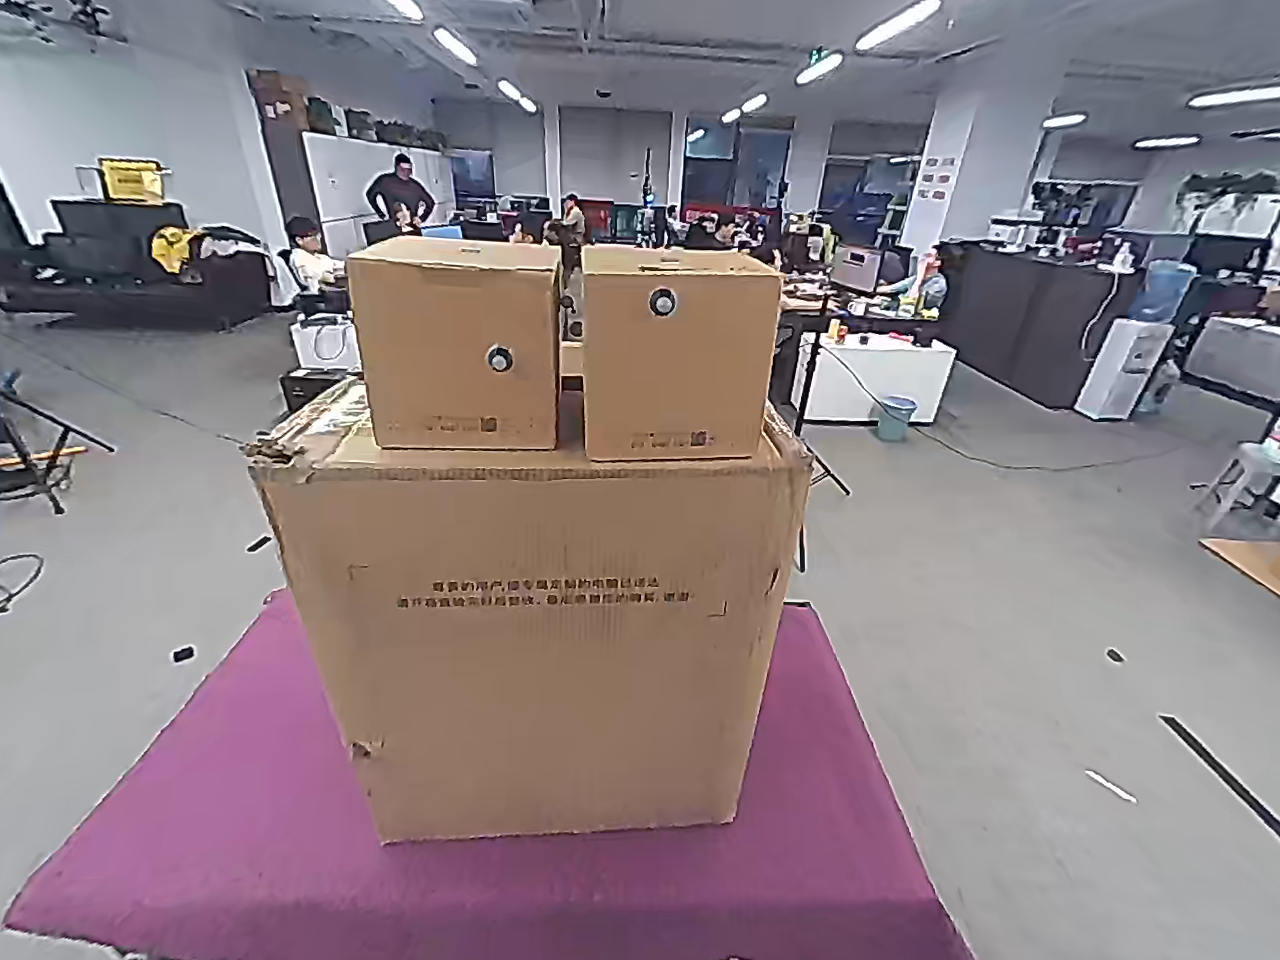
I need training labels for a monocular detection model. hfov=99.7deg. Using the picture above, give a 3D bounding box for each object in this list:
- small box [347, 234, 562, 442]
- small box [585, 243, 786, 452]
[{"bbox_3d":[-0.164,-0.145,0.543,0.168,0.176,0.179,1,27,-8],"label":"small box"},{"bbox_3d":[0.028,-0.138,0.542,0.168,0.176,0.179,-2,28,-6],"label":"small box"}]
